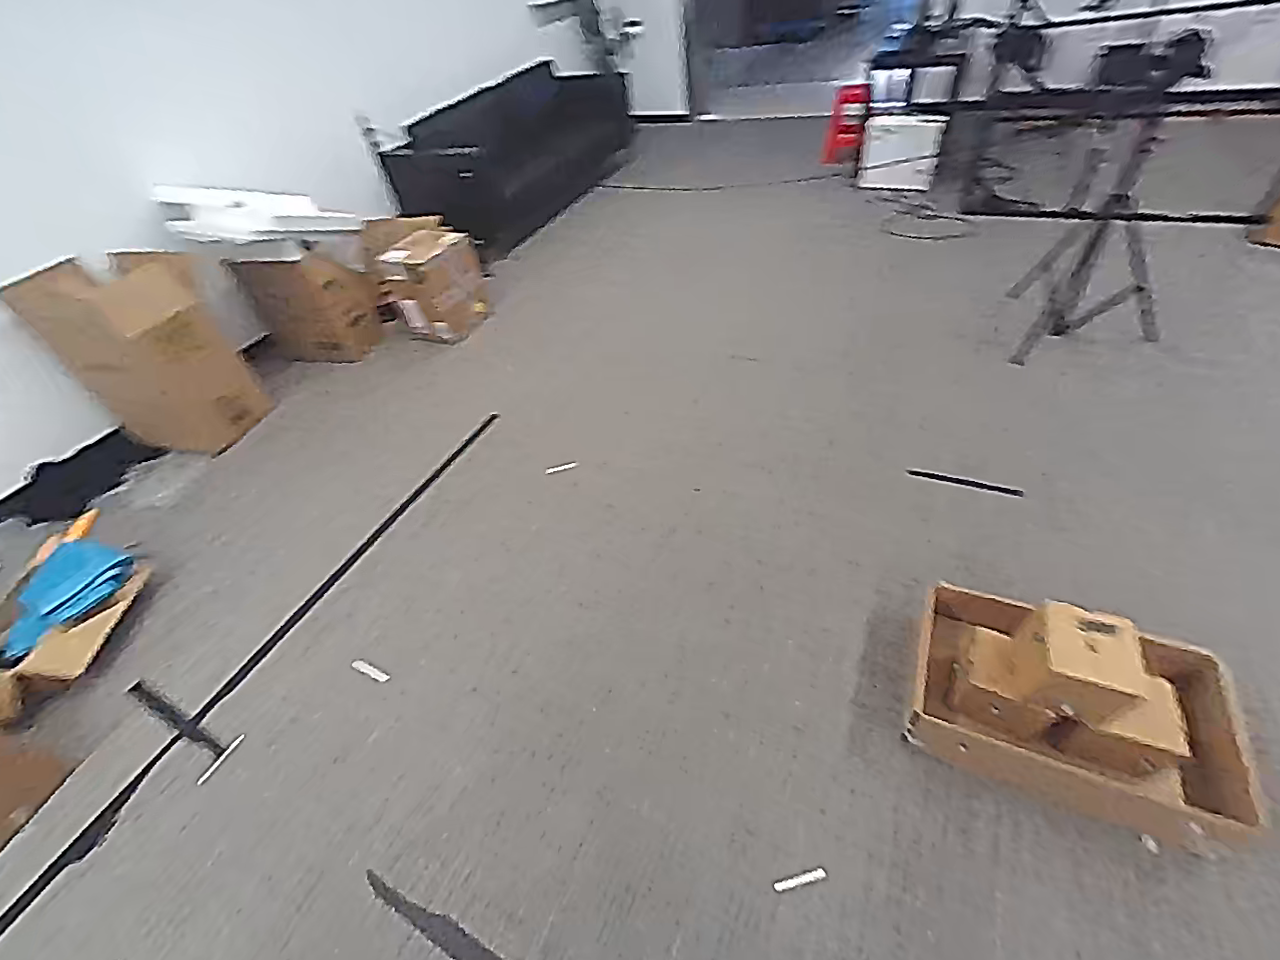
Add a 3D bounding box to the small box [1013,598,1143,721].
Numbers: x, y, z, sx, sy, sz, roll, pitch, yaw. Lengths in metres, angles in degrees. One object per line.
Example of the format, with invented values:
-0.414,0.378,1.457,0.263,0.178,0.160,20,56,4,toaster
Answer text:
0.943,0.394,1.186,0.168,0.176,0.179,13,50,19,small box
